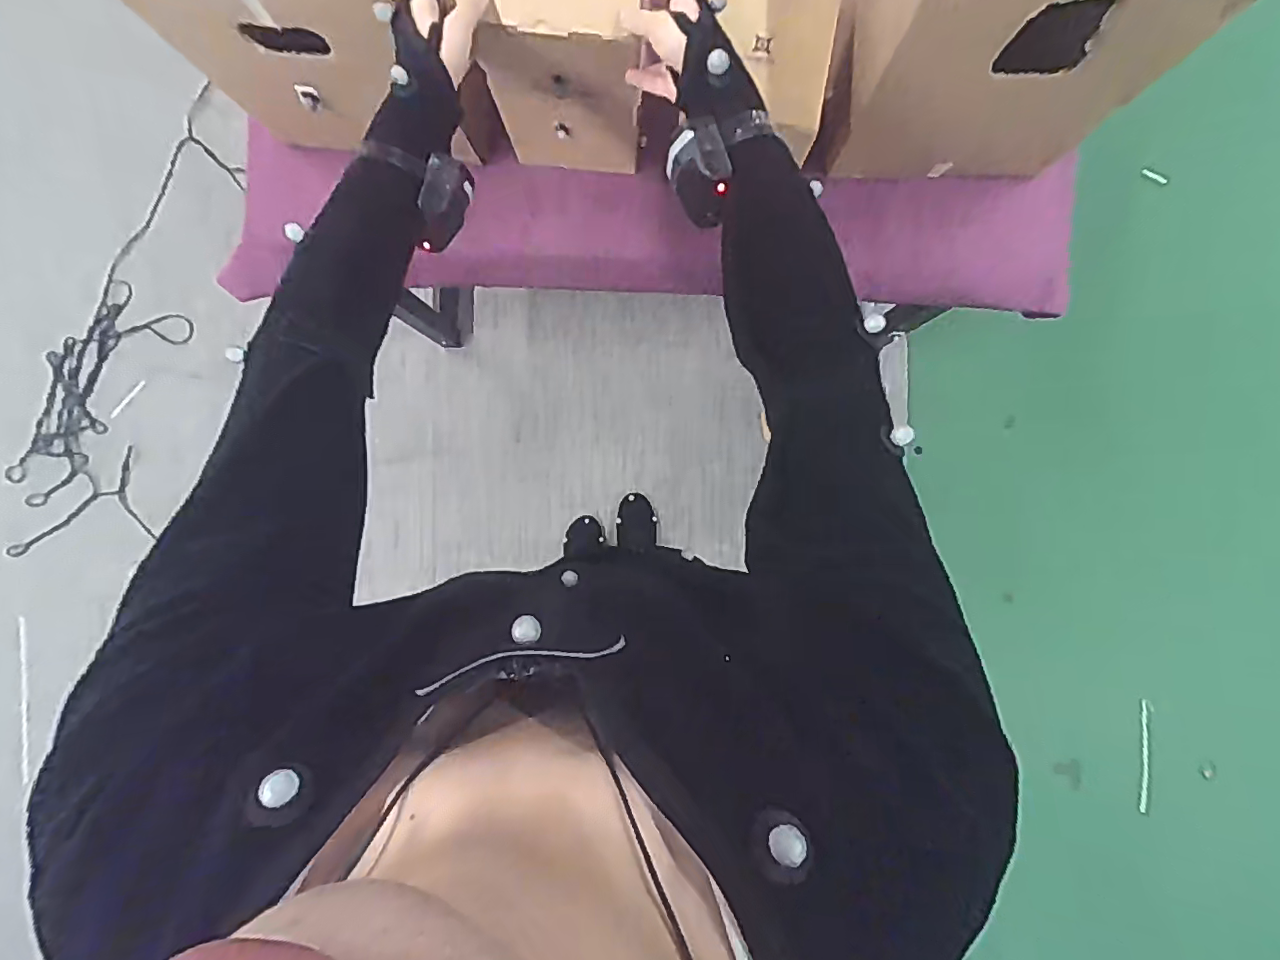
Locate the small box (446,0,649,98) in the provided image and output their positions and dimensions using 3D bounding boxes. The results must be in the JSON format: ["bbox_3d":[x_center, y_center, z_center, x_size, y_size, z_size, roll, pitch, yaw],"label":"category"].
[{"bbox_3d":[-0.075,-0.499,0.509,0.168,0.176,0.179,6,109,-1],"label":"small box"}]

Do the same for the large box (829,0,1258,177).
[{"bbox_3d":[0.423,-0.641,0.638,0.320,0.320,0.408,1,91,3],"label":"large box"}]
